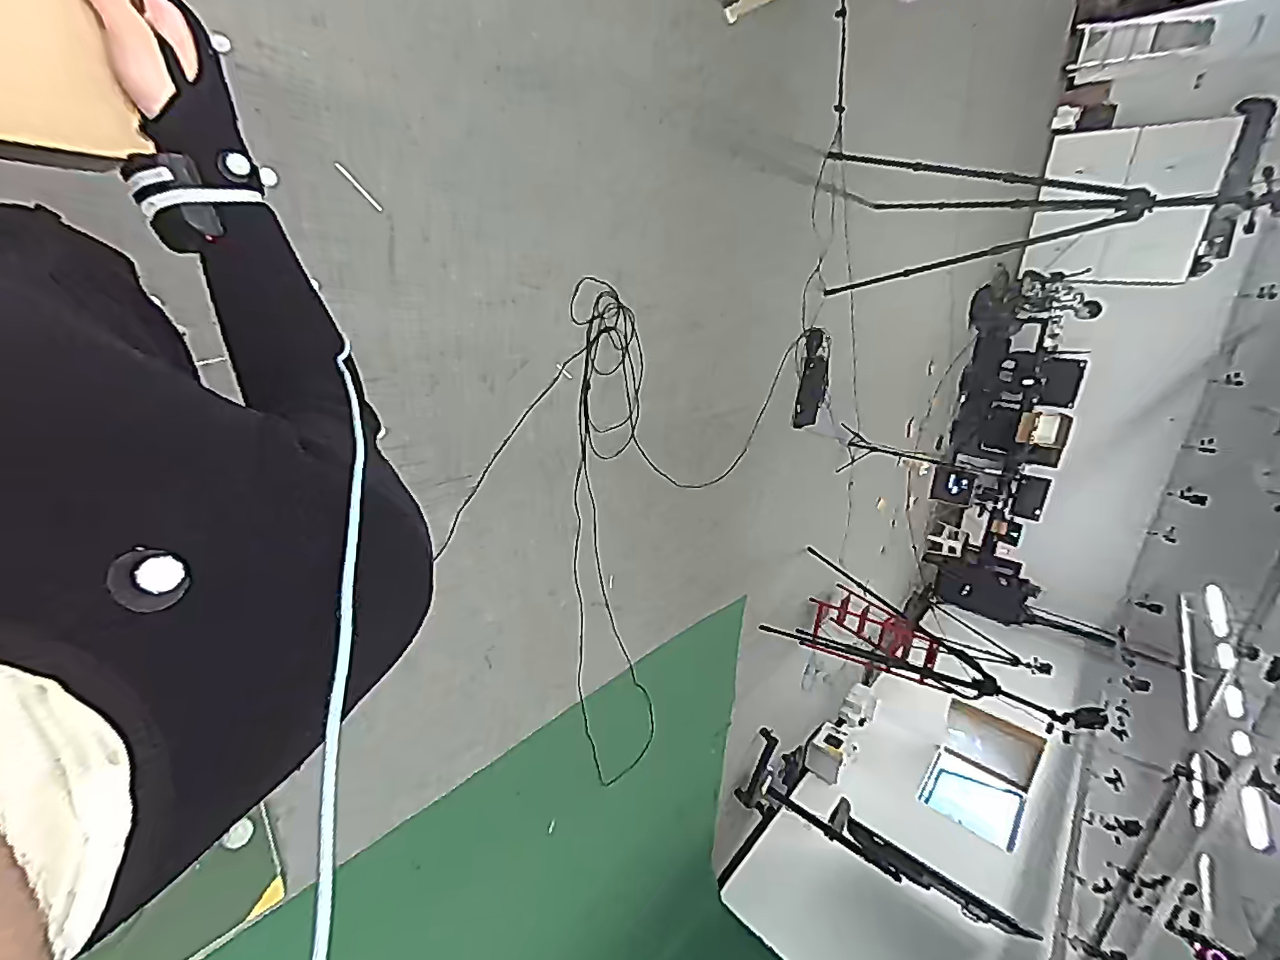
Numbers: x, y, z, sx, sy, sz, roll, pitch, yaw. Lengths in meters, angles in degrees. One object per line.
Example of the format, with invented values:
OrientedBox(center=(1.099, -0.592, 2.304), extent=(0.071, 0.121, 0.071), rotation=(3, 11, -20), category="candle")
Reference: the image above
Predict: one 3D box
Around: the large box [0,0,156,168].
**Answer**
OrientedBox(center=(-0.618, -0.403, 0.326), extent=(0.408, 0.320, 0.320), rotation=(-18, 122, -46), category="large box")
